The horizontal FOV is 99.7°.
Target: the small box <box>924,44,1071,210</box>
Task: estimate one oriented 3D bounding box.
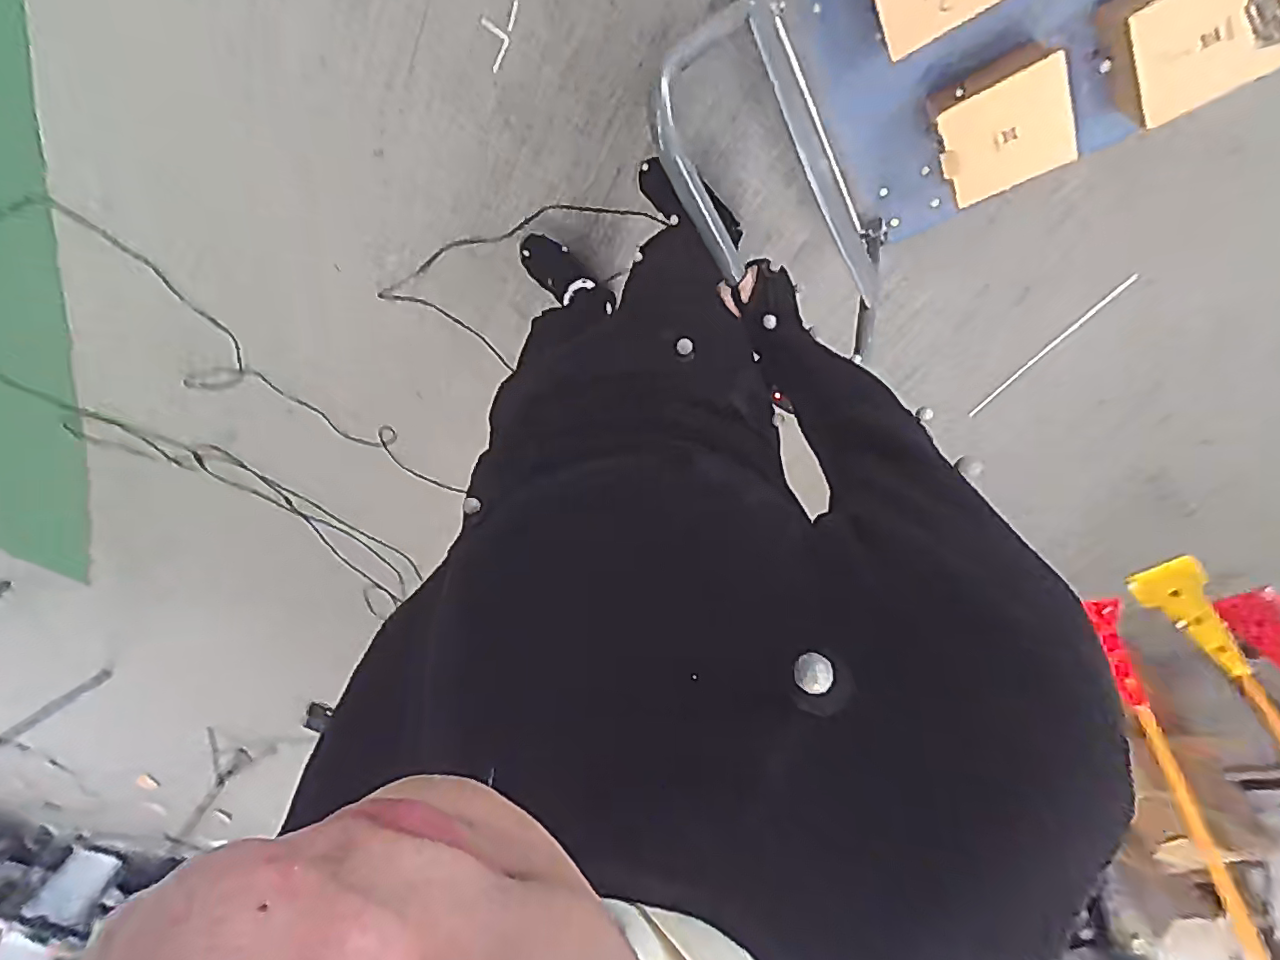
[{"bbox_3d":[0.614,-0.614,0.942,0.179,0.176,0.168,-14,126,34],"label":"small box"}]

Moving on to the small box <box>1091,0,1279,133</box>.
[{"bbox_3d":[0.815,-0.667,0.805,0.179,0.176,0.168,-18,124,36],"label":"small box"}]
